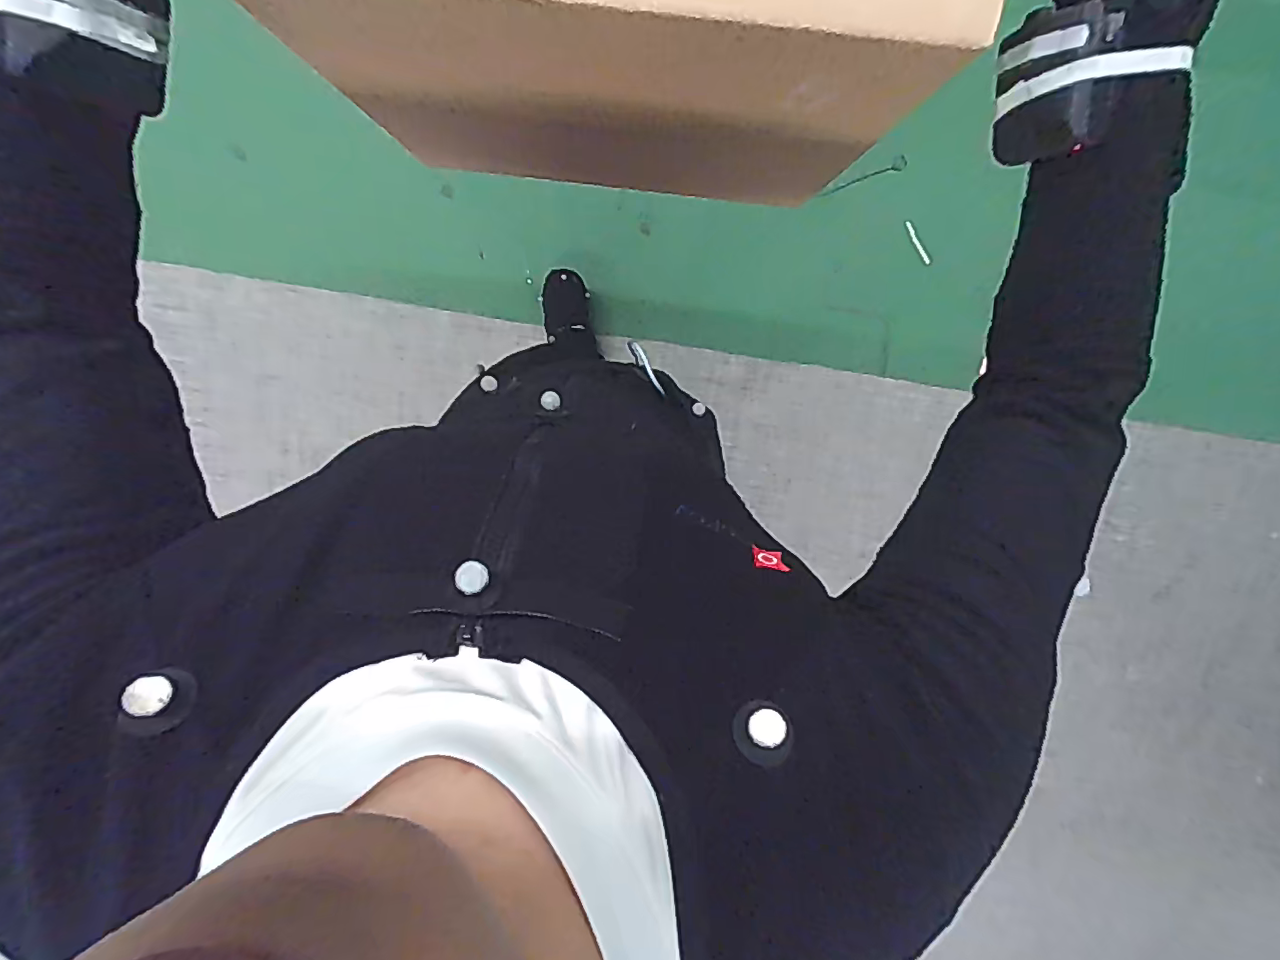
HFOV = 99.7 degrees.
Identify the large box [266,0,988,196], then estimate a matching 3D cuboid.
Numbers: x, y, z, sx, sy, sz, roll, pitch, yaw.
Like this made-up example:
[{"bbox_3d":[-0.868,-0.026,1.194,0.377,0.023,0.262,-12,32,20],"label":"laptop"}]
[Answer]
[{"bbox_3d":[-0.008,-0.428,0.393,0.408,0.320,0.320,5,104,-2],"label":"large box"}]
